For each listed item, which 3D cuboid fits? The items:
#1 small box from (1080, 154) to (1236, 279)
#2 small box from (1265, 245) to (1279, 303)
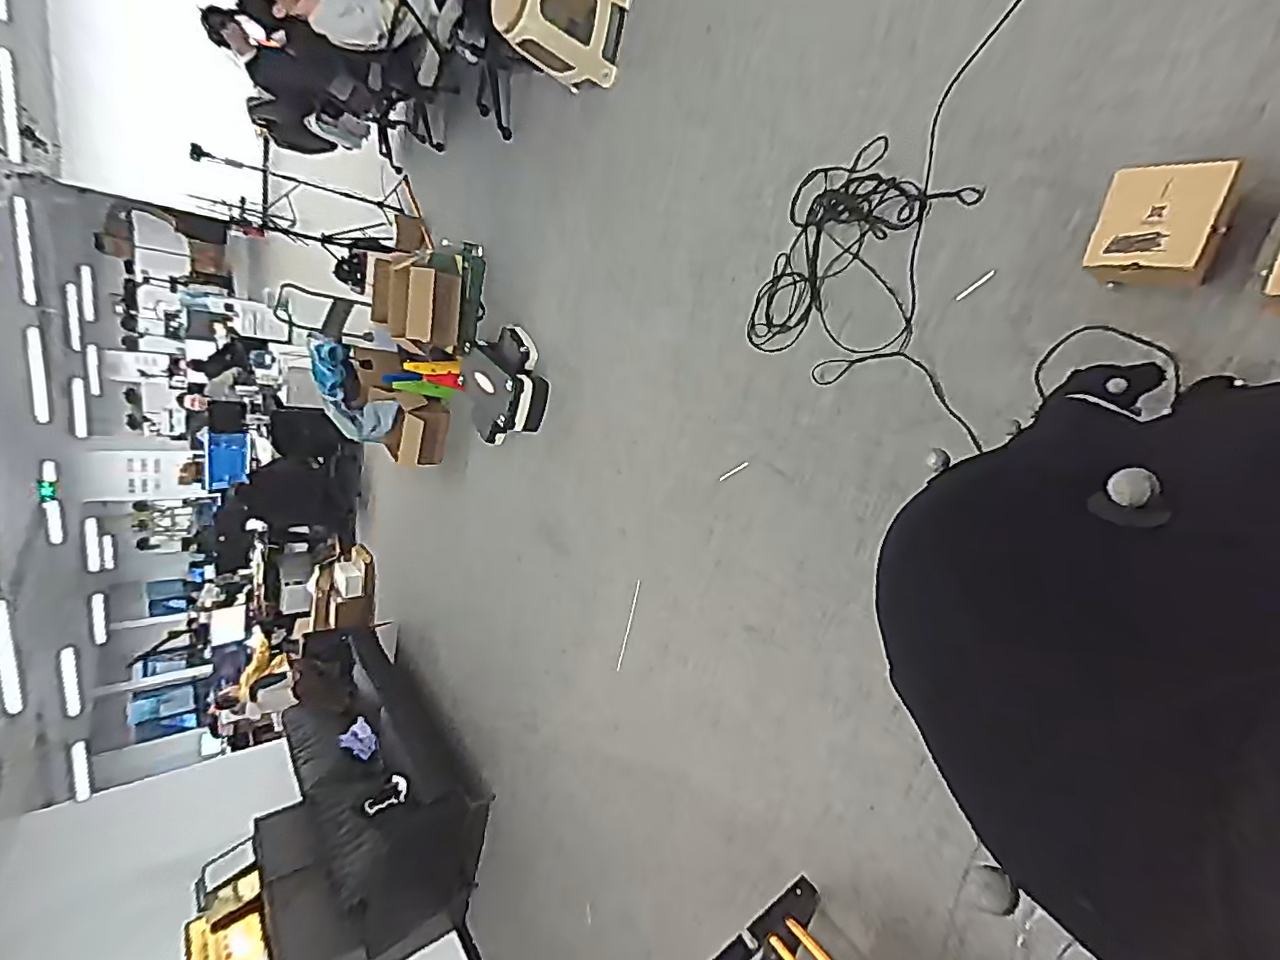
[{"bbox_3d":[0.986,-0.491,1.028,0.168,0.176,0.179,27,111,44],"label":"small box"},{"bbox_3d":[1.144,-0.382,0.859,0.168,0.176,0.179,23,110,46],"label":"small box"}]
